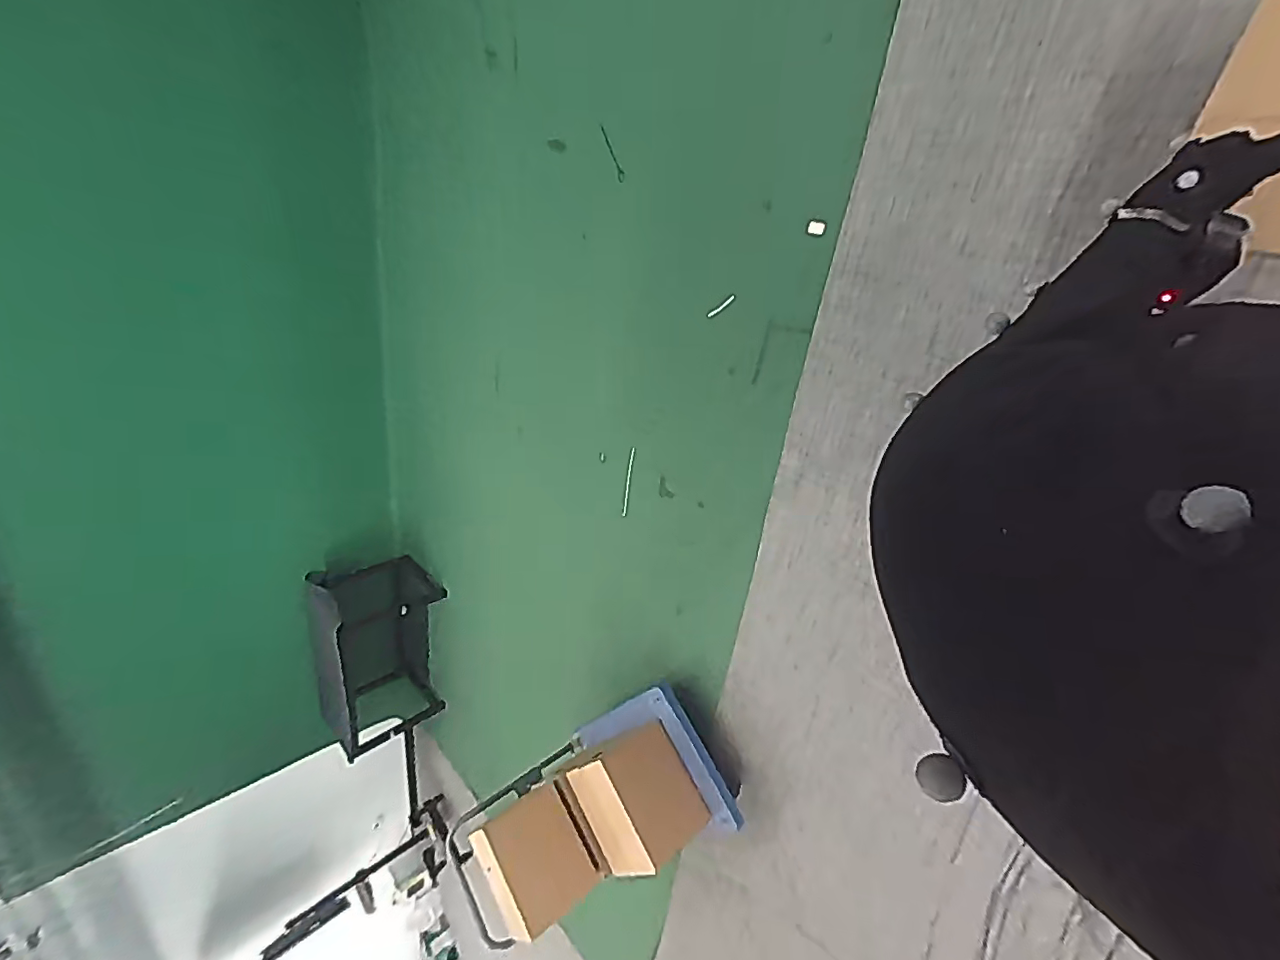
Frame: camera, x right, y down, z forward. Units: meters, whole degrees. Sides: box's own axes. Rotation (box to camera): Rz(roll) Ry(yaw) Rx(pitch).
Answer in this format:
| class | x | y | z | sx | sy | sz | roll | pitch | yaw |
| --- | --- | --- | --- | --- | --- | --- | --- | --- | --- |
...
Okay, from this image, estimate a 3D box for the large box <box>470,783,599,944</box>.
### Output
| class | x | y | z | sx | sy | sz | roll | pitch | yaw |
| --- | --- | --- | --- | --- | --- | --- | --- | --- | --- |
| large box | -0.419 | 1.485 | 2.116 | 0.408 | 0.320 | 0.320 | 57 | 139 | 19 |
